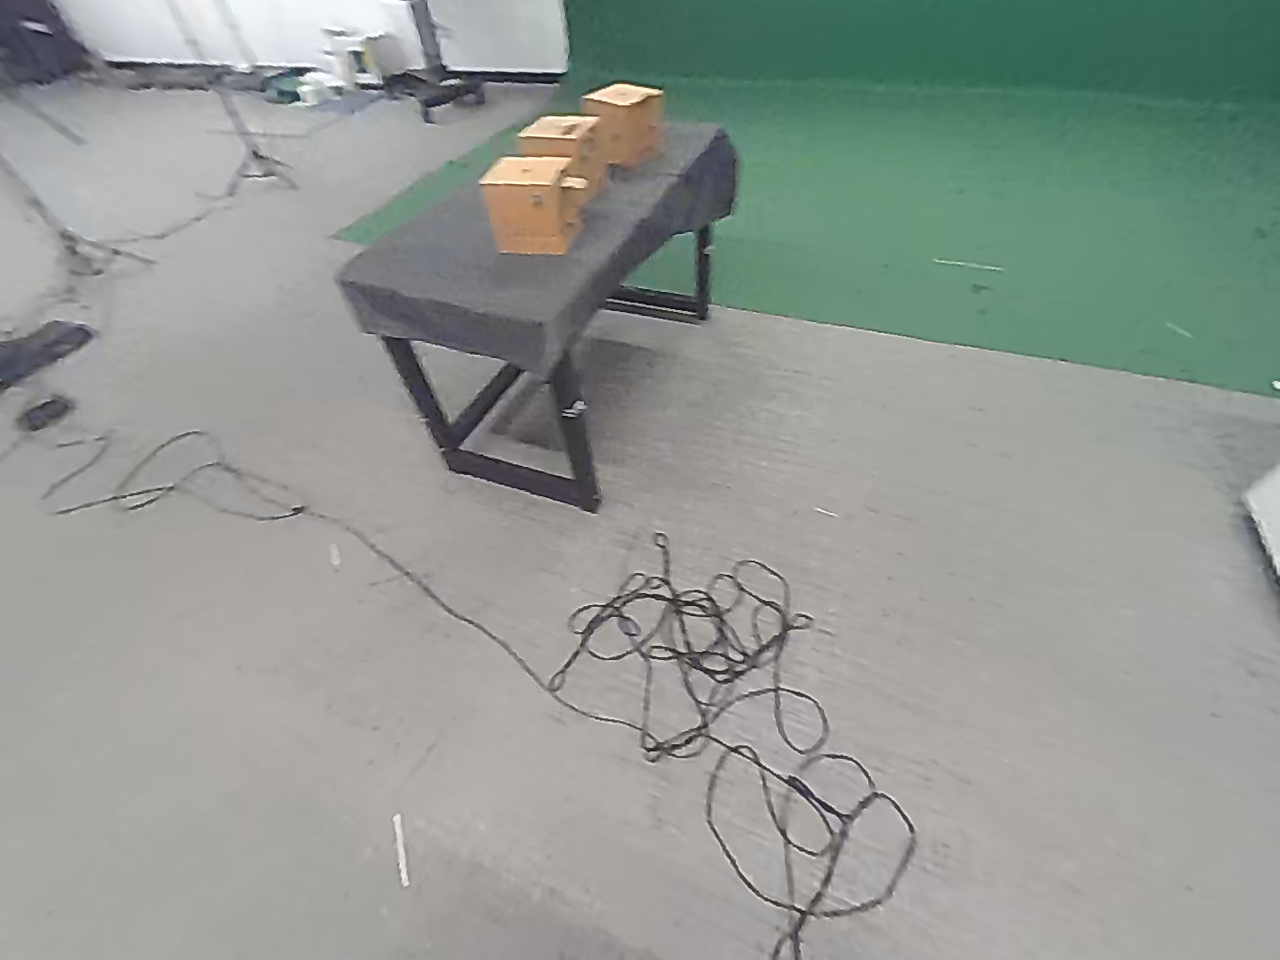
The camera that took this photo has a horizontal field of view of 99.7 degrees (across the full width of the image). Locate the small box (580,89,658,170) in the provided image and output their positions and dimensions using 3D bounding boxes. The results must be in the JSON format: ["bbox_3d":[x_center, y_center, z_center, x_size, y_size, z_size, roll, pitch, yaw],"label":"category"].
[{"bbox_3d":[-0.058,-1.085,1.677,0.179,0.176,0.168,32,58,29],"label":"small box"}]

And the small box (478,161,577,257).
[{"bbox_3d":[-0.268,-0.667,1.335,0.179,0.176,0.168,6,50,10],"label":"small box"}]
